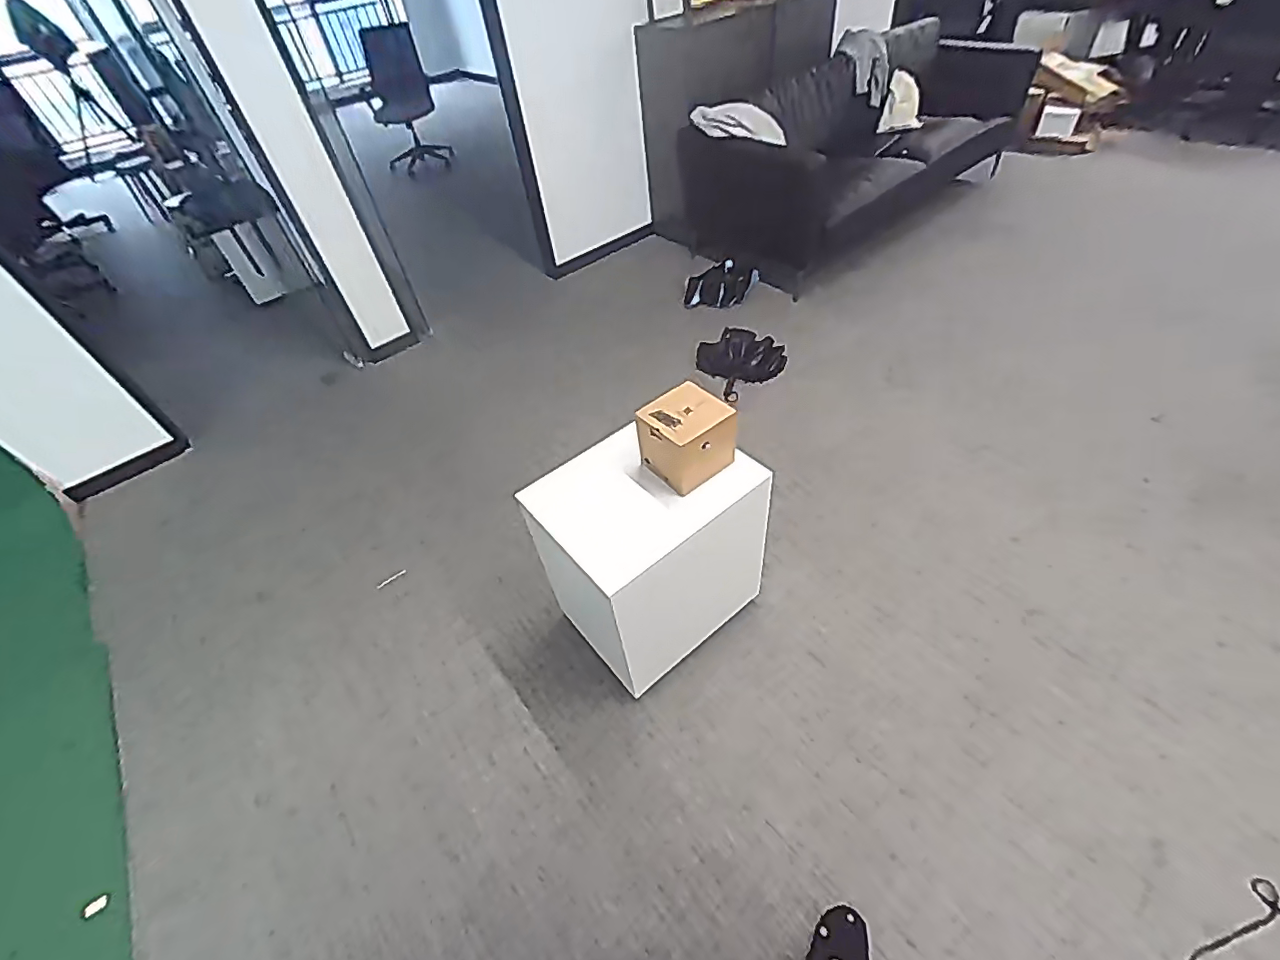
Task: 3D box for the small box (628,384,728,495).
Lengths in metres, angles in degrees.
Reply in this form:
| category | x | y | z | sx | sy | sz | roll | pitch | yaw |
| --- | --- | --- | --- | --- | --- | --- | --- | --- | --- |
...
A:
| category | x | y | z | sx | sy | sz | roll | pitch | yaw |
| --- | --- | --- | --- | --- | --- | --- | --- | --- | --- |
| small box | 0.092 | -0.095 | 1.294 | 0.179 | 0.176 | 0.168 | -32 | 52 | -25 |
